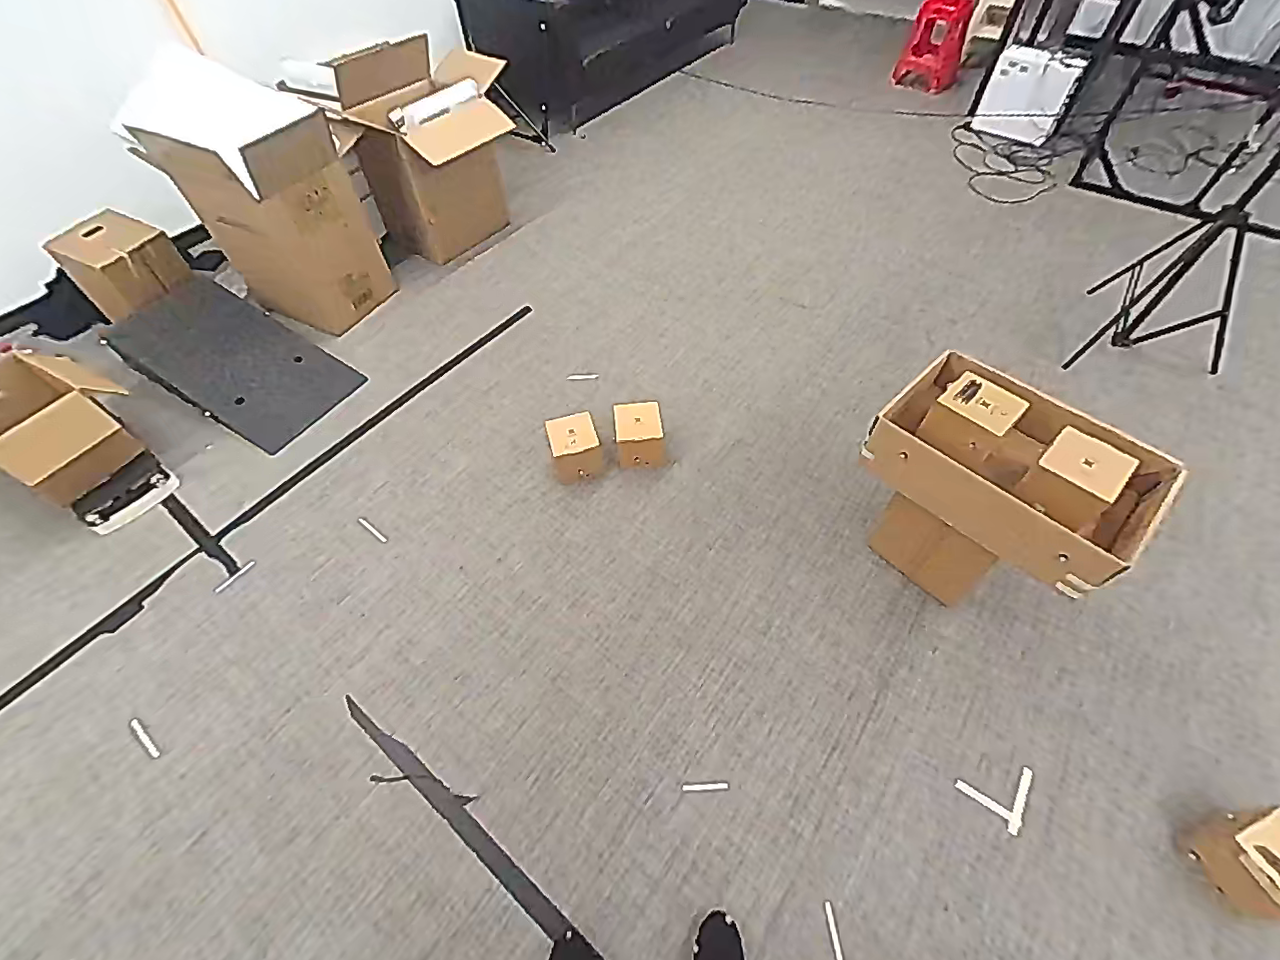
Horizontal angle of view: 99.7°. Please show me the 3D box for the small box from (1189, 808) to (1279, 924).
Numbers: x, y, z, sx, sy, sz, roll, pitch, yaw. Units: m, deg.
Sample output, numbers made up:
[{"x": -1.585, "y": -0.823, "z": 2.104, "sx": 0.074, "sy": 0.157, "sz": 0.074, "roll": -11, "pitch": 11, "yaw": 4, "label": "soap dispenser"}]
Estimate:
[{"x": 1.405, "y": 0.864, "z": 1.208, "sx": 0.179, "sy": 0.176, "sz": 0.168, "roll": -18, "pitch": 55, "yaw": -11, "label": "small box"}]

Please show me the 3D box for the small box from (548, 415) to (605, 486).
[{"x": -0.230, "y": -0.105, "z": 1.979, "sx": 0.168, "sy": 0.176, "sz": 0.179, "roll": -15, "pitch": 55, "yaw": -8, "label": "small box"}]

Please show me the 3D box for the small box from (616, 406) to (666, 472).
[{"x": 0.001, "y": -0.152, "z": 2.009, "sx": 0.168, "sy": 0.176, "sz": 0.179, "roll": -6, "pitch": 55, "yaw": -3, "label": "small box"}]

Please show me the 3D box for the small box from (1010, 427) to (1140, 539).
[{"x": 1.058, "y": 0.008, "z": 1.329, "sx": 0.179, "sy": 0.176, "sz": 0.168, "roll": -36, "pitch": 59, "yaw": -26, "label": "small box"}]
